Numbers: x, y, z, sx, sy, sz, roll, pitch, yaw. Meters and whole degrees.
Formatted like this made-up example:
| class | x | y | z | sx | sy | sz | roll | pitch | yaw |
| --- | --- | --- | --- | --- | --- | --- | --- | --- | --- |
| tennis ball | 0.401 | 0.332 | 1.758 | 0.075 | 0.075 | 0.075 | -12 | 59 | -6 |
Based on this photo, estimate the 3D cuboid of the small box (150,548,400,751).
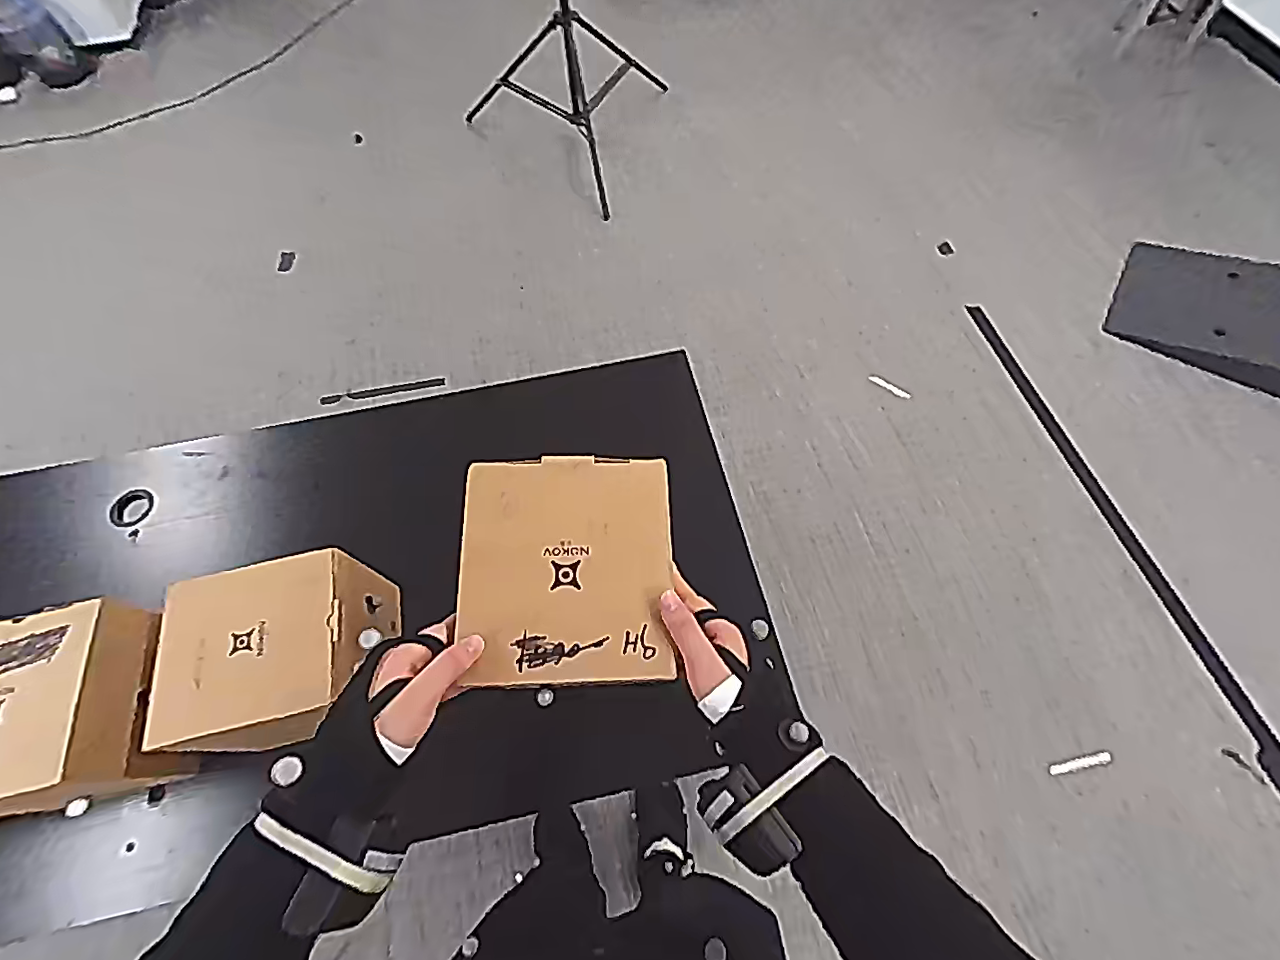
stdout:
| class | x | y | z | sx | sy | sz | roll | pitch | yaw |
| --- | --- | --- | --- | --- | --- | --- | --- | --- | --- |
| small box | -0.389 | 0.197 | 0.615 | 0.179 | 0.176 | 0.168 | -14 | 63 | -4 |

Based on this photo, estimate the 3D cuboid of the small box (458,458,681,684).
| class | x | y | z | sx | sy | sz | roll | pitch | yaw |
| --- | --- | --- | --- | --- | --- | --- | --- | --- | --- |
| small box | -0.056 | 0.092 | 0.498 | 0.168 | 0.176 | 0.179 | -1 | 70 | -2 |
